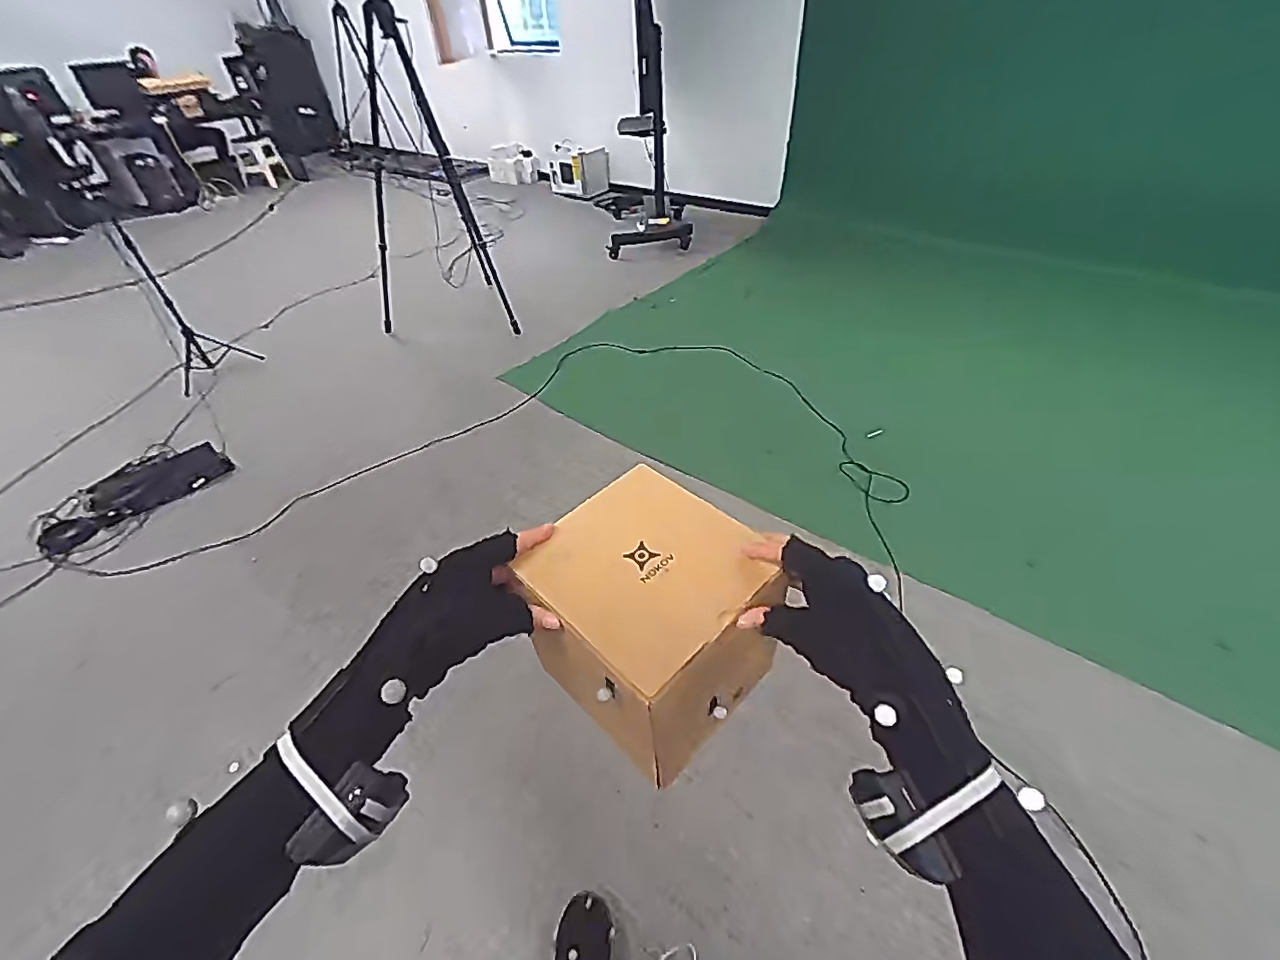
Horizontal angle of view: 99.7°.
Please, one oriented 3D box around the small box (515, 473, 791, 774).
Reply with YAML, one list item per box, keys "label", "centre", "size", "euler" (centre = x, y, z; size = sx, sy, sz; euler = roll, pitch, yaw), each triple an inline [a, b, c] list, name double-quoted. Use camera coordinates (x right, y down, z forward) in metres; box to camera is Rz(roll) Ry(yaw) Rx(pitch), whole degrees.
- label: "small box"
  centre: [0.011, 0.129, 0.504]
  size: [0.168, 0.176, 0.179]
  euler: [-34, 51, -29]
